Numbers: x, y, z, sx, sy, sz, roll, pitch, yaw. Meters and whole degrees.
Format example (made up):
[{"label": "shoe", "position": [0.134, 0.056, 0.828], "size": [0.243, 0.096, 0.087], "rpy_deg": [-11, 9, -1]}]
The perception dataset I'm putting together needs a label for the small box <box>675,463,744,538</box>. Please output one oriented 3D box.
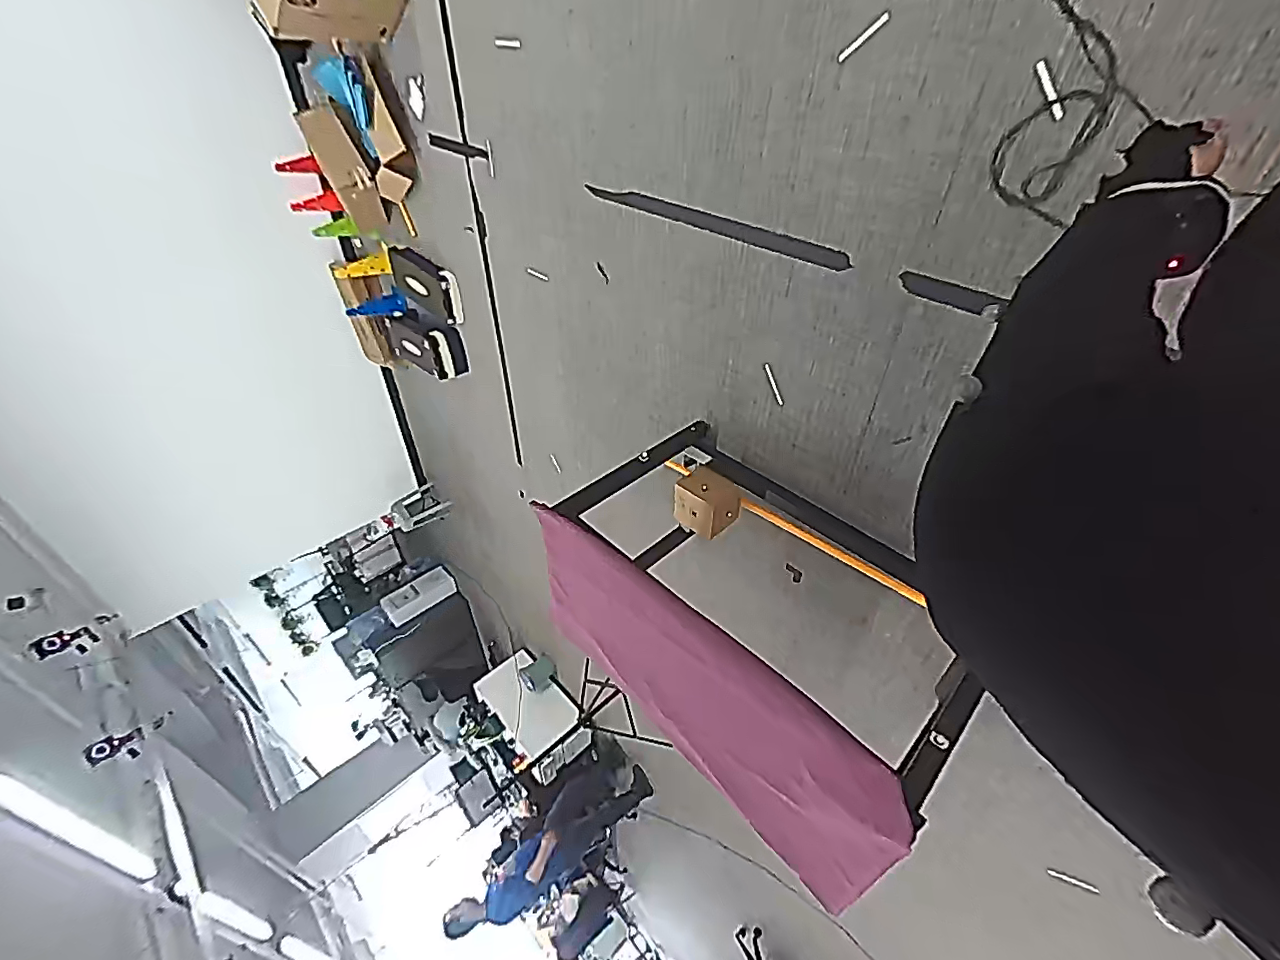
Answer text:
[{"label": "small box", "position": [0.245, 0.065, 1.912], "size": [0.179, 0.176, 0.168], "rpy_deg": [32, 138, 33]}]
